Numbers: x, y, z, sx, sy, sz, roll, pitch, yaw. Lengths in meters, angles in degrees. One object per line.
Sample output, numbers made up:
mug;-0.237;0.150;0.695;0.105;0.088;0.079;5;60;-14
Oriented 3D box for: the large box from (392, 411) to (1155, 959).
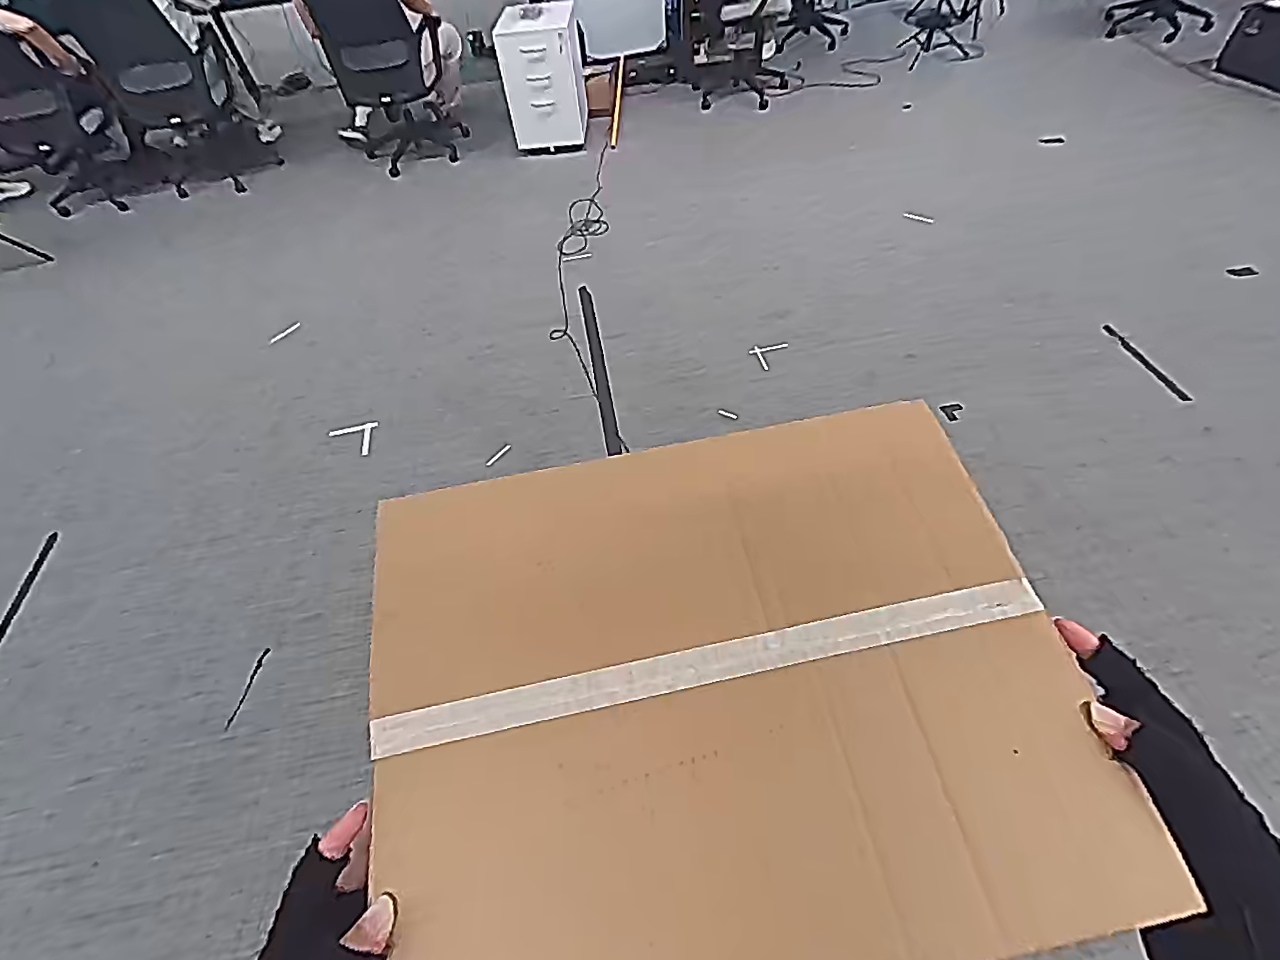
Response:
large box;0.050;0.188;0.467;0.408;0.320;0.320;-11;63;-3
